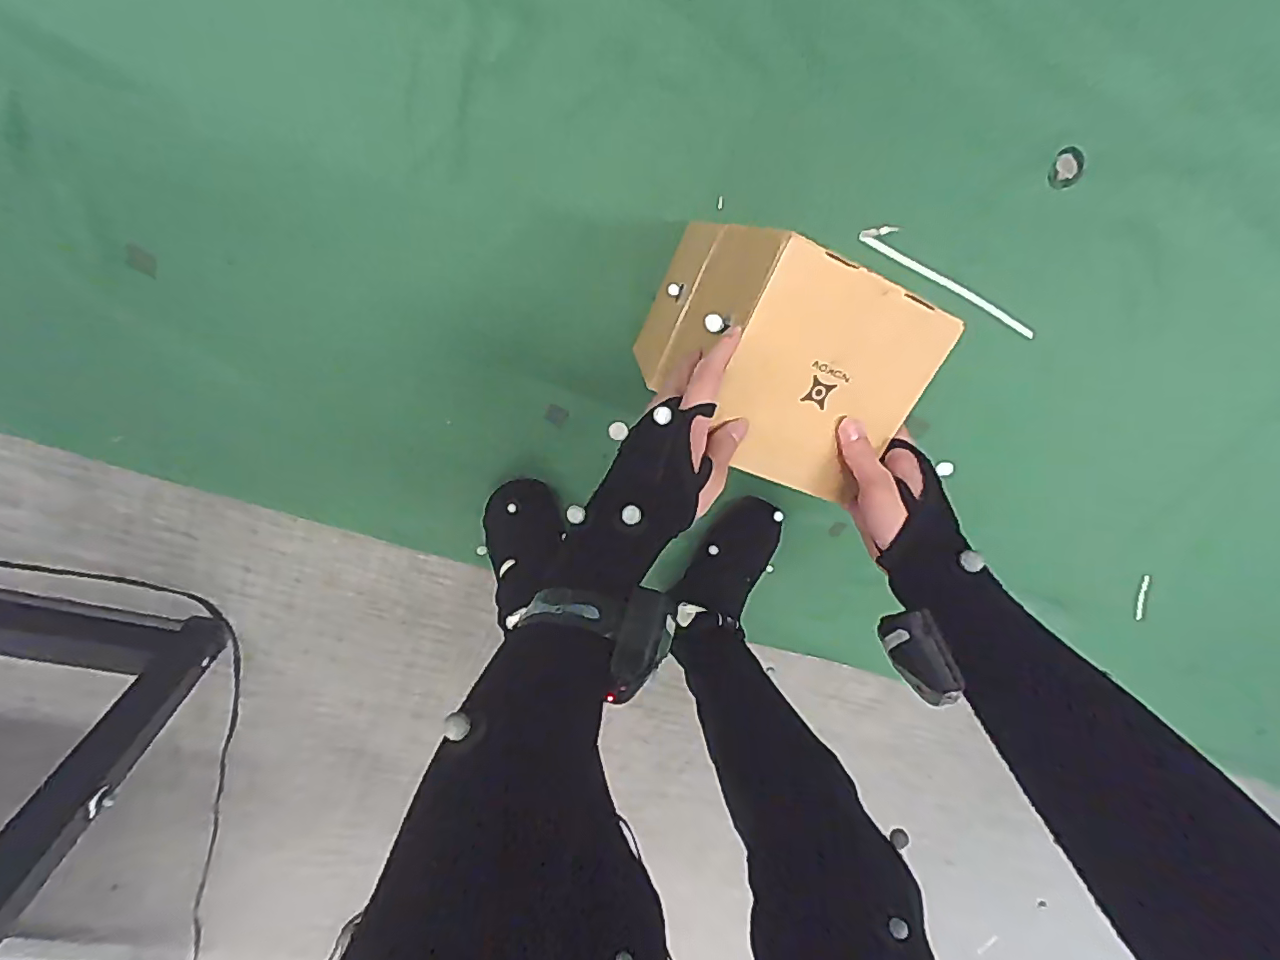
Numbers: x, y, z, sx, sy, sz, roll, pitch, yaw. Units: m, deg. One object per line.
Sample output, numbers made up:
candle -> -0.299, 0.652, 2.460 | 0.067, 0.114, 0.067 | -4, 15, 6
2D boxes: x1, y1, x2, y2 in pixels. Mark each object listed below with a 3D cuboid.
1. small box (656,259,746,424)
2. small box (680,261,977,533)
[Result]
small box -> 0.127, -0.149, 0.645 | 0.168, 0.176, 0.179 | 19, 112, -13
small box -> 0.147, -0.083, 0.497 | 0.168, 0.176, 0.179 | 18, 109, -14
